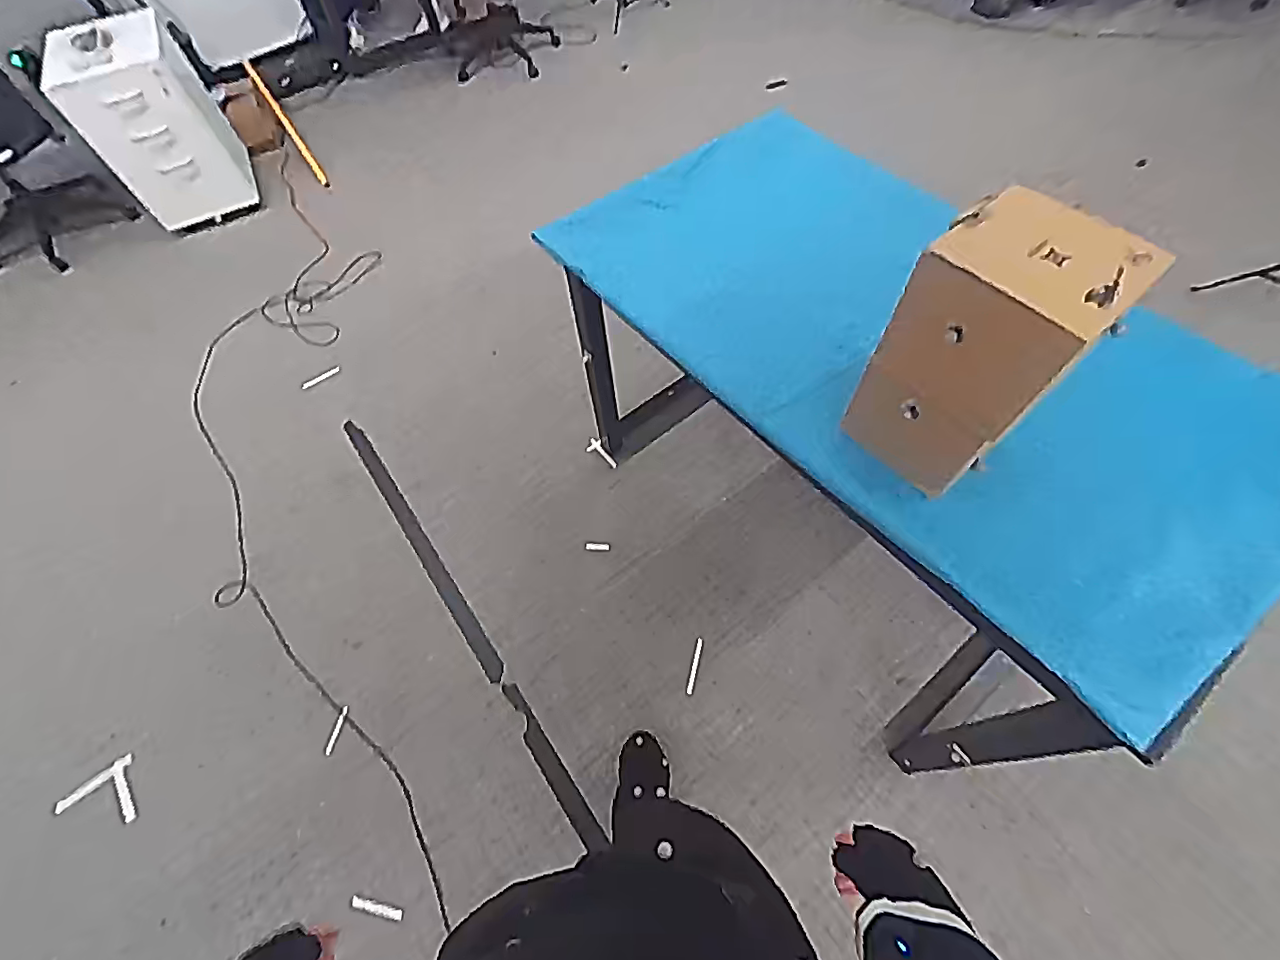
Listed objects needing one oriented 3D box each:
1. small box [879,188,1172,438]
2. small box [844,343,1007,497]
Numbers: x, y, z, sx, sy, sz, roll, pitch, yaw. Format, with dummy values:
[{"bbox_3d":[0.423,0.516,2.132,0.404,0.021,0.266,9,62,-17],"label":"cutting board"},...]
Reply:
[{"bbox_3d":[0.404,-0.180,0.603,0.168,0.176,0.179,-39,66,-18],"label":"small box"},{"bbox_3d":[0.415,-0.108,0.749,0.168,0.176,0.179,-36,64,-15],"label":"small box"}]
